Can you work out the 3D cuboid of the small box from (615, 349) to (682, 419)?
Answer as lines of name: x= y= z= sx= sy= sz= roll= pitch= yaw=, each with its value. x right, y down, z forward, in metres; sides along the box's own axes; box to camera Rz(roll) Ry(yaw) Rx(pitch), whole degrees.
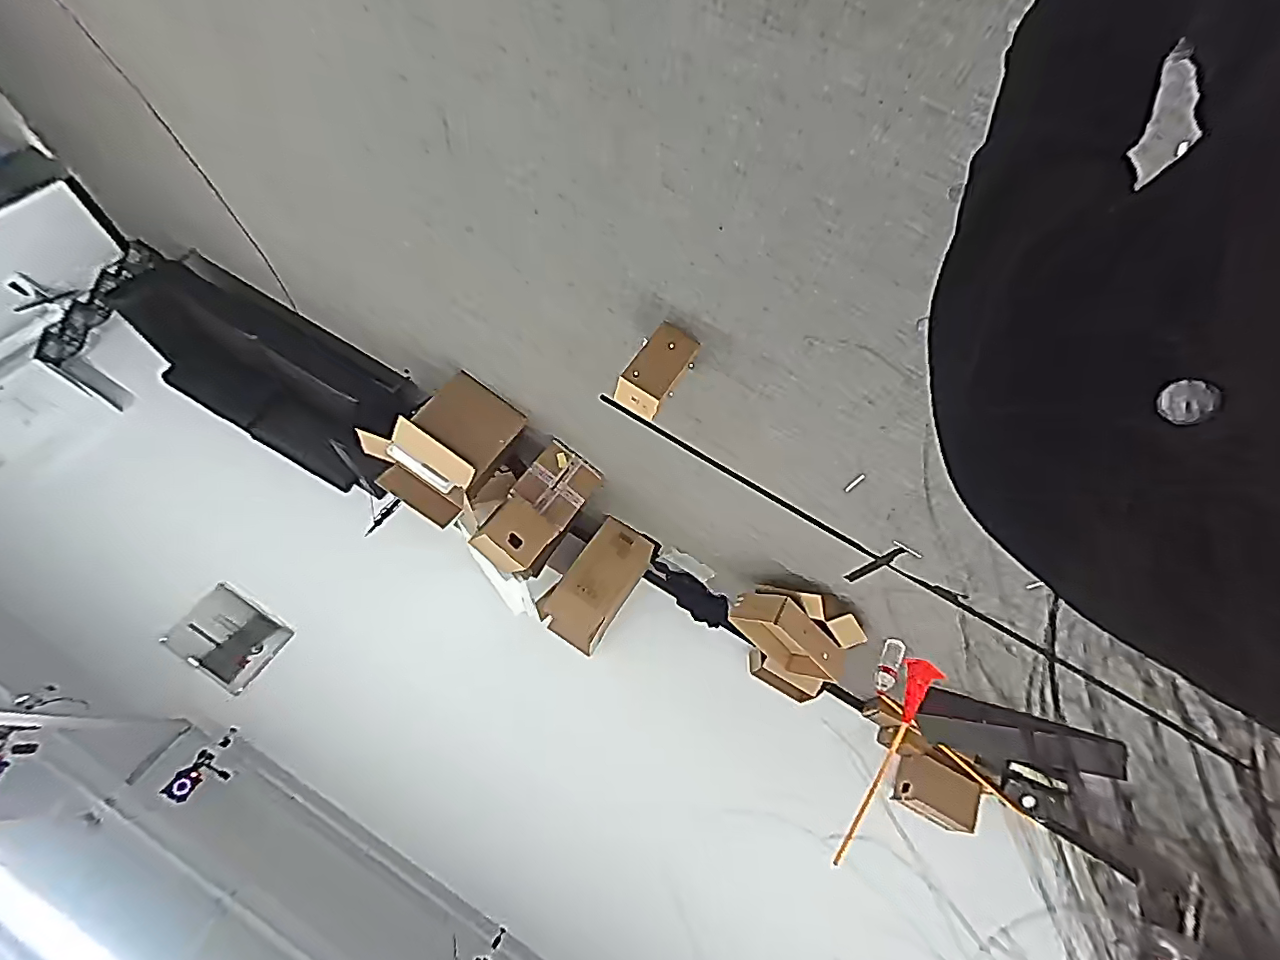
small box: x=0.032 y=-0.372 z=2.067 sx=0.179 sy=0.176 sz=0.168 roll=32 pitch=155 yaw=3
